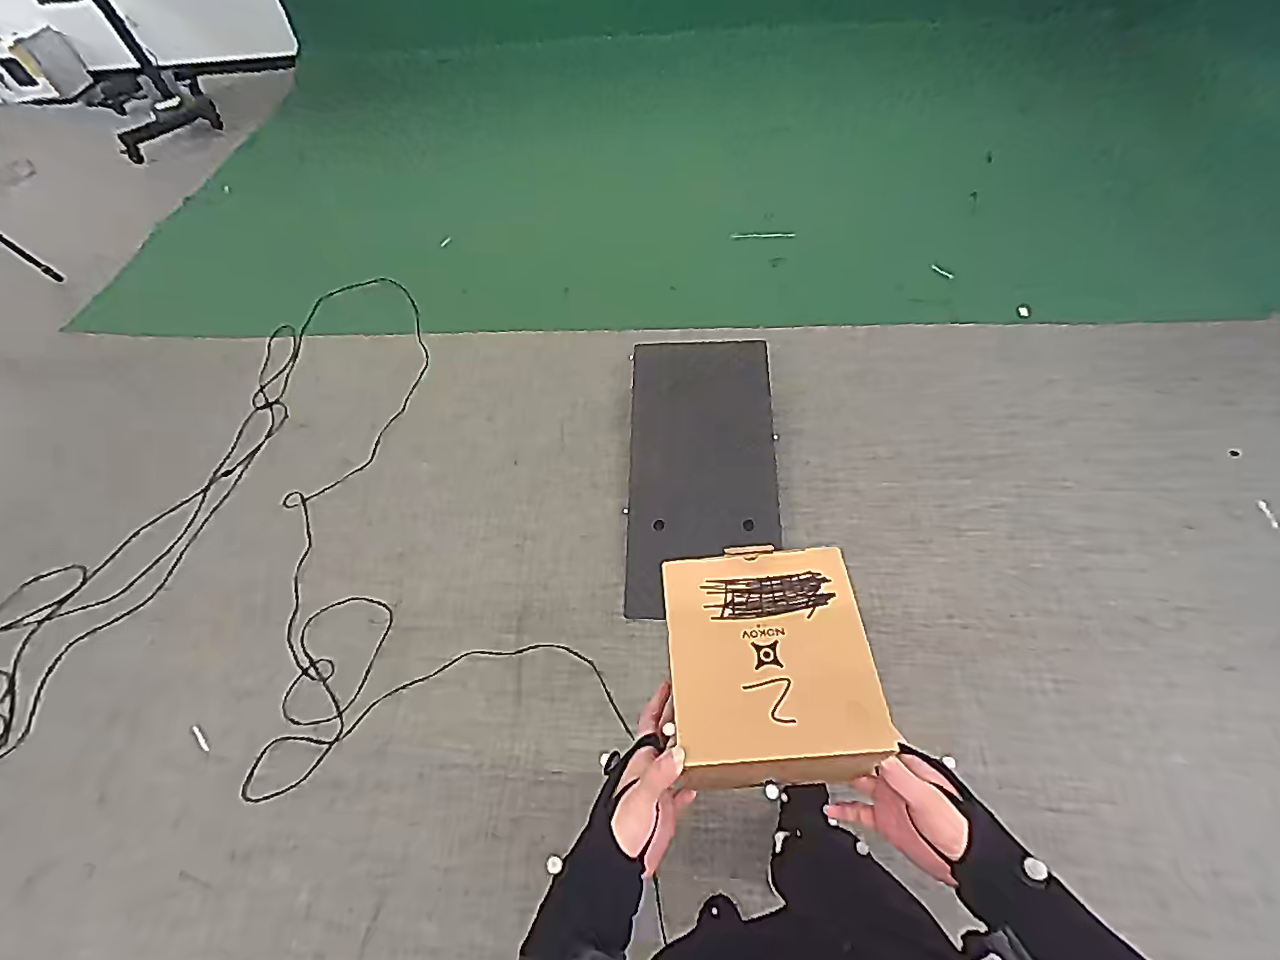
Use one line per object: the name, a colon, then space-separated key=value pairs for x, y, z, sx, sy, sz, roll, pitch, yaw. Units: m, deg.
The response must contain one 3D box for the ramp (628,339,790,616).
ramp: x=0.217 y=-0.053 z=1.805 sx=0.509 sy=0.206 sz=0.991 roll=-1 pitch=57 yaw=3
